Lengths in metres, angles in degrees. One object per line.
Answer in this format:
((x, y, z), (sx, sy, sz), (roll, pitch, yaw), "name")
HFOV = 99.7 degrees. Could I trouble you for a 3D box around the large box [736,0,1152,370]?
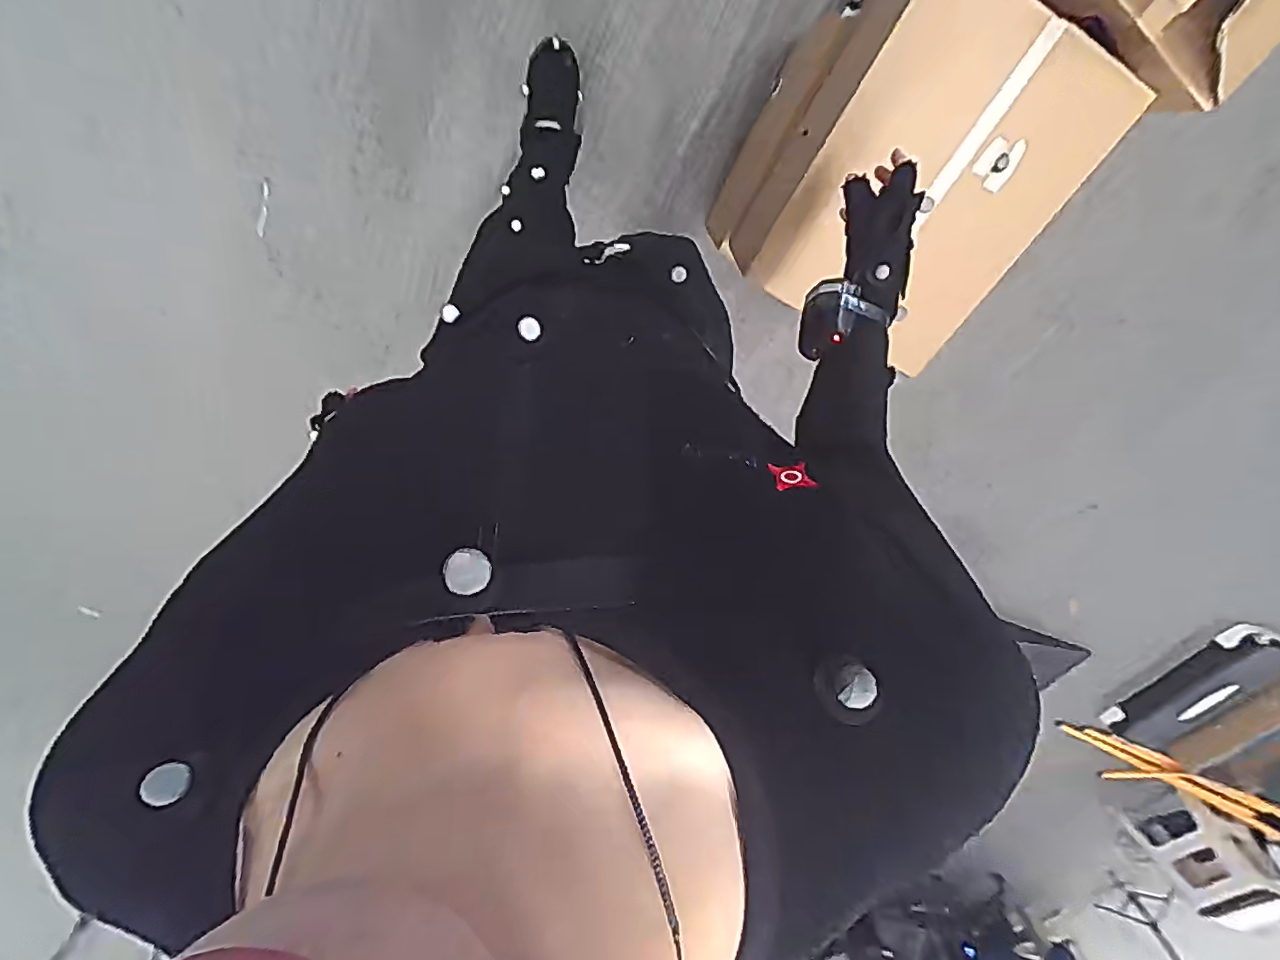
((0.384, -0.447, 0.820), (0.320, 0.320, 0.408), (26, 119, -10), "large box")
